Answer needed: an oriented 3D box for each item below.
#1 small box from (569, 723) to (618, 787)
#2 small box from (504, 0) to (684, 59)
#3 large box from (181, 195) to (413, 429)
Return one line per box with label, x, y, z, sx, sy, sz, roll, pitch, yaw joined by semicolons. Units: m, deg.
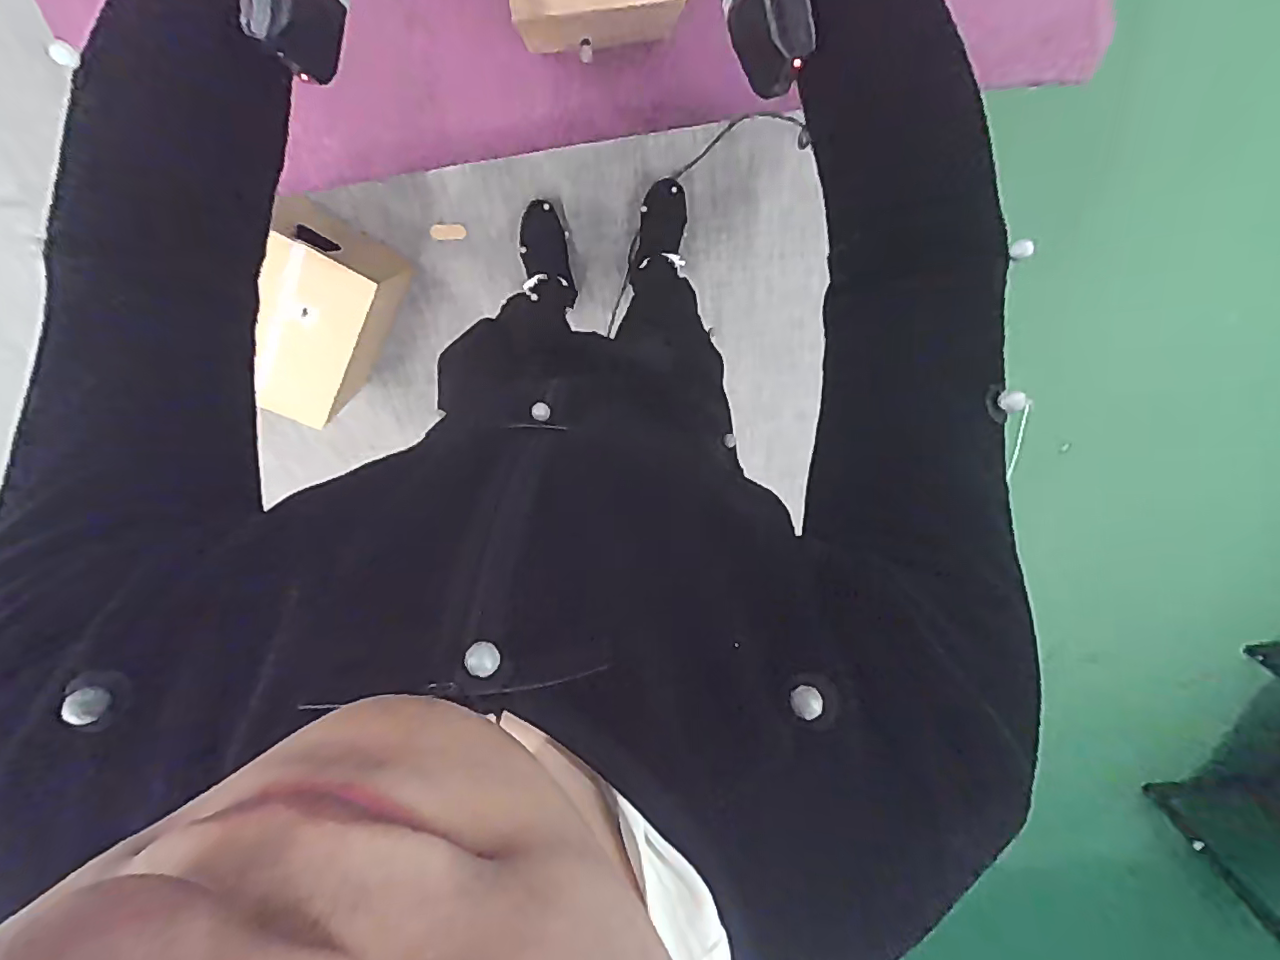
small box;-0.193;1.158;2.283;0.179;0.176;0.168;-12;120;2
small box;-0.053;-0.537;0.519;0.168;0.176;0.179;-7;120;0
large box;-0.802;-0.405;1.299;0.320;0.320;0.408;26;114;-20
